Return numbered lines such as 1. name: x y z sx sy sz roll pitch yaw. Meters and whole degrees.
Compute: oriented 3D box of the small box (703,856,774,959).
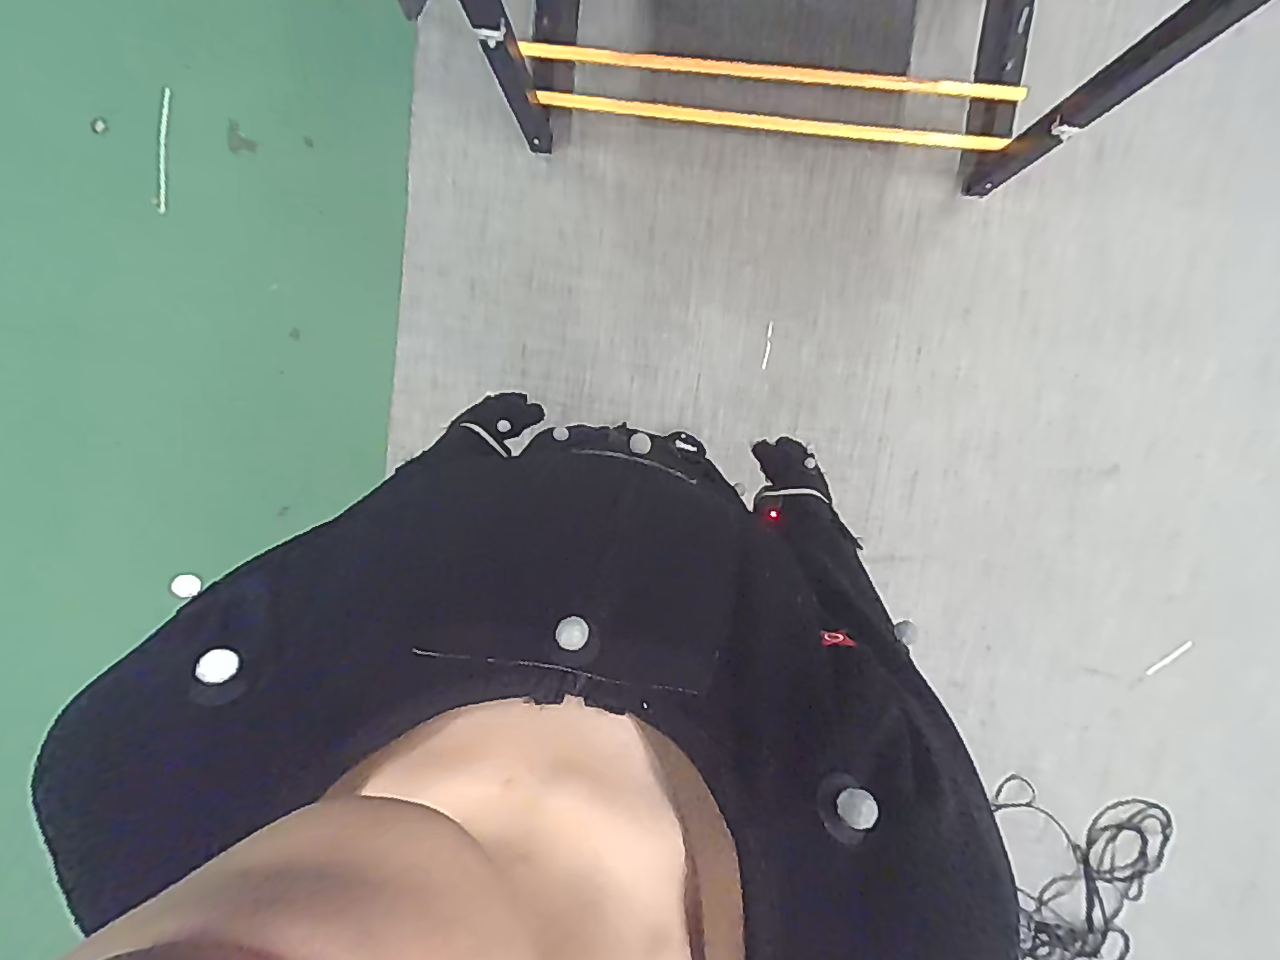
1. small box: 0.271 1.211 1.522 0.168 0.176 0.179 4 95 1
